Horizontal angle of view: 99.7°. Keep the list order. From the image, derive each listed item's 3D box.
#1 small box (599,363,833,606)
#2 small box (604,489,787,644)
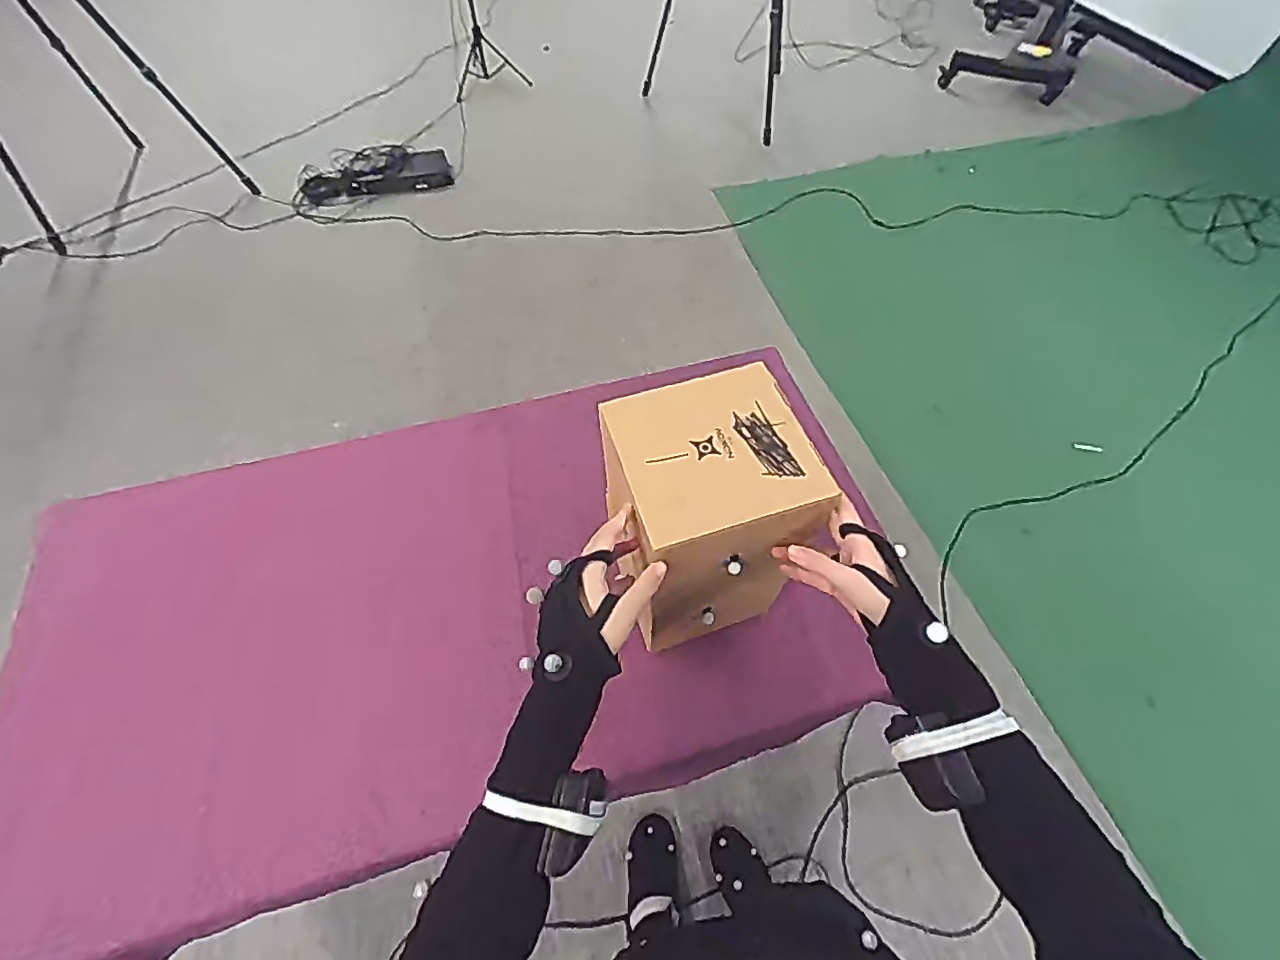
[{"bbox_3d":[0.065,0.010,0.567,0.179,0.176,0.168,-16,59,-9],"label":"small box"},{"bbox_3d":[0.065,0.095,0.707,0.179,0.176,0.168,-17,59,-9],"label":"small box"}]
